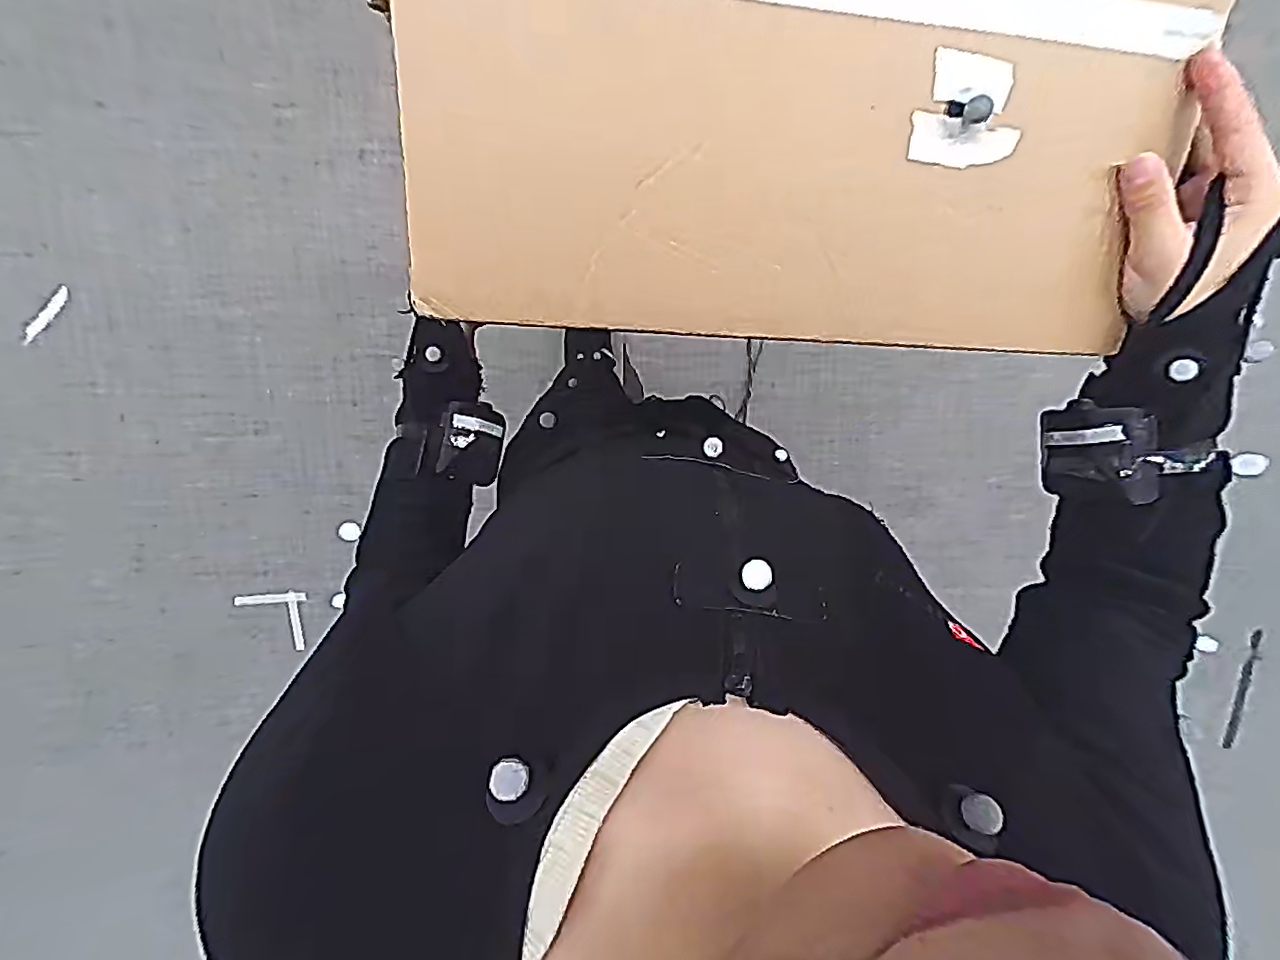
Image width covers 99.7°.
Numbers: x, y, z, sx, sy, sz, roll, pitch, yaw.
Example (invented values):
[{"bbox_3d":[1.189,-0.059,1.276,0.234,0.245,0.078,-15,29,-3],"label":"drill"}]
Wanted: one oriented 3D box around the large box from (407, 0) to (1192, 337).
[{"bbox_3d":[0.068,-0.278,0.400,0.408,0.320,0.320,0,109,-10],"label":"large box"}]
